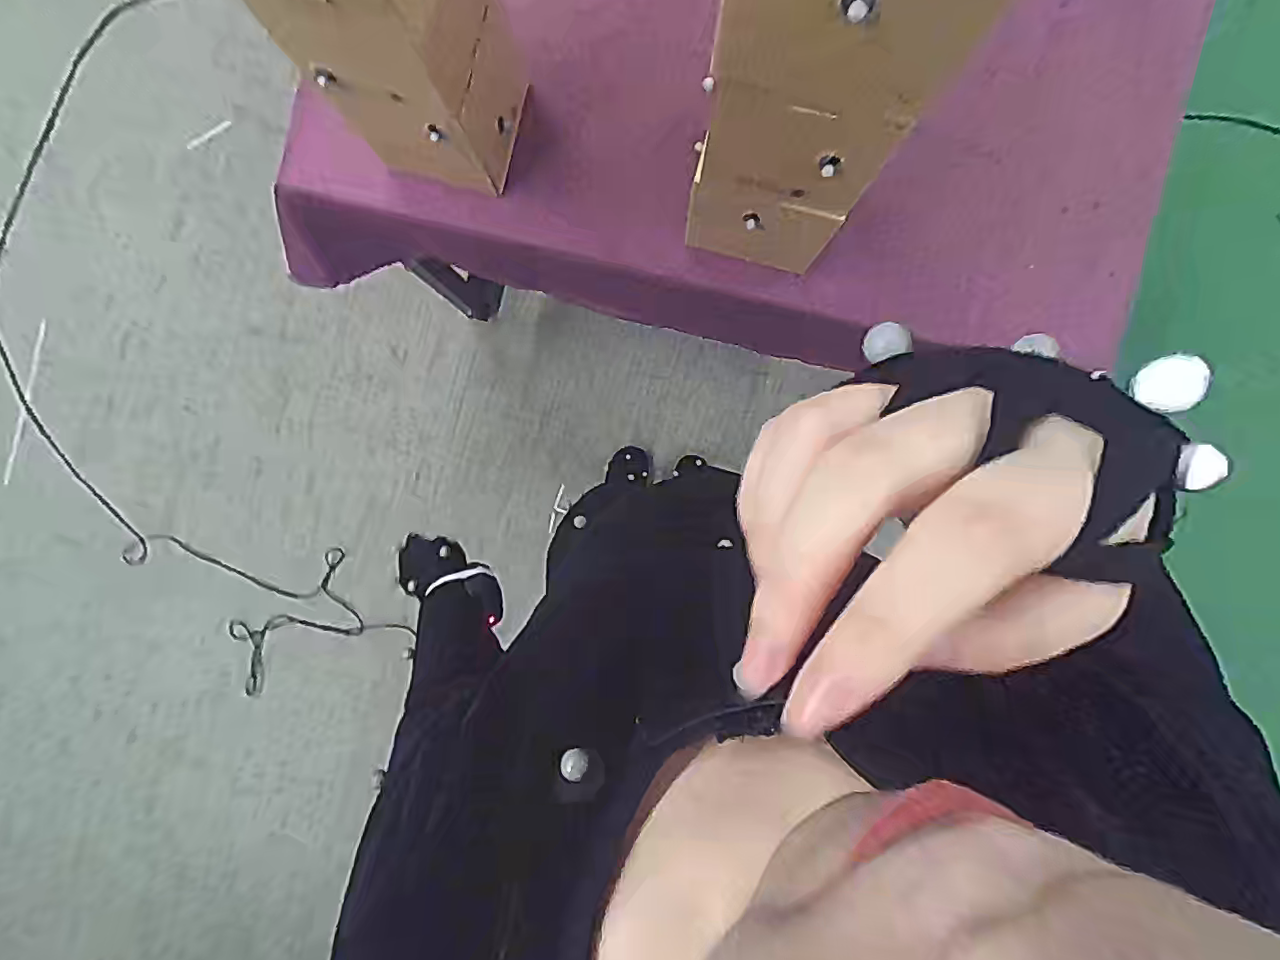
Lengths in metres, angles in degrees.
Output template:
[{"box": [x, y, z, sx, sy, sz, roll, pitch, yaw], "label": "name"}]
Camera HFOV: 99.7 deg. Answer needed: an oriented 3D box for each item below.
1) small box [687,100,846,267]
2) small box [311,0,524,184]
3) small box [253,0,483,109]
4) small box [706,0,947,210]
[{"box": [0.163, -0.389, 0.676, 0.179, 0.176, 0.168, 16, 92, 0], "label": "small box"}, {"box": [-0.262, -0.505, 0.677, 0.179, 0.176, 0.168, 14, 92, -1], "label": "small box"}, {"box": [-0.261, -0.501, 0.513, 0.168, 0.176, 0.179, 14, 90, -1], "label": "small box"}, {"box": [0.164, -0.390, 0.513, 0.168, 0.176, 0.179, 14, 91, 0], "label": "small box"}]
